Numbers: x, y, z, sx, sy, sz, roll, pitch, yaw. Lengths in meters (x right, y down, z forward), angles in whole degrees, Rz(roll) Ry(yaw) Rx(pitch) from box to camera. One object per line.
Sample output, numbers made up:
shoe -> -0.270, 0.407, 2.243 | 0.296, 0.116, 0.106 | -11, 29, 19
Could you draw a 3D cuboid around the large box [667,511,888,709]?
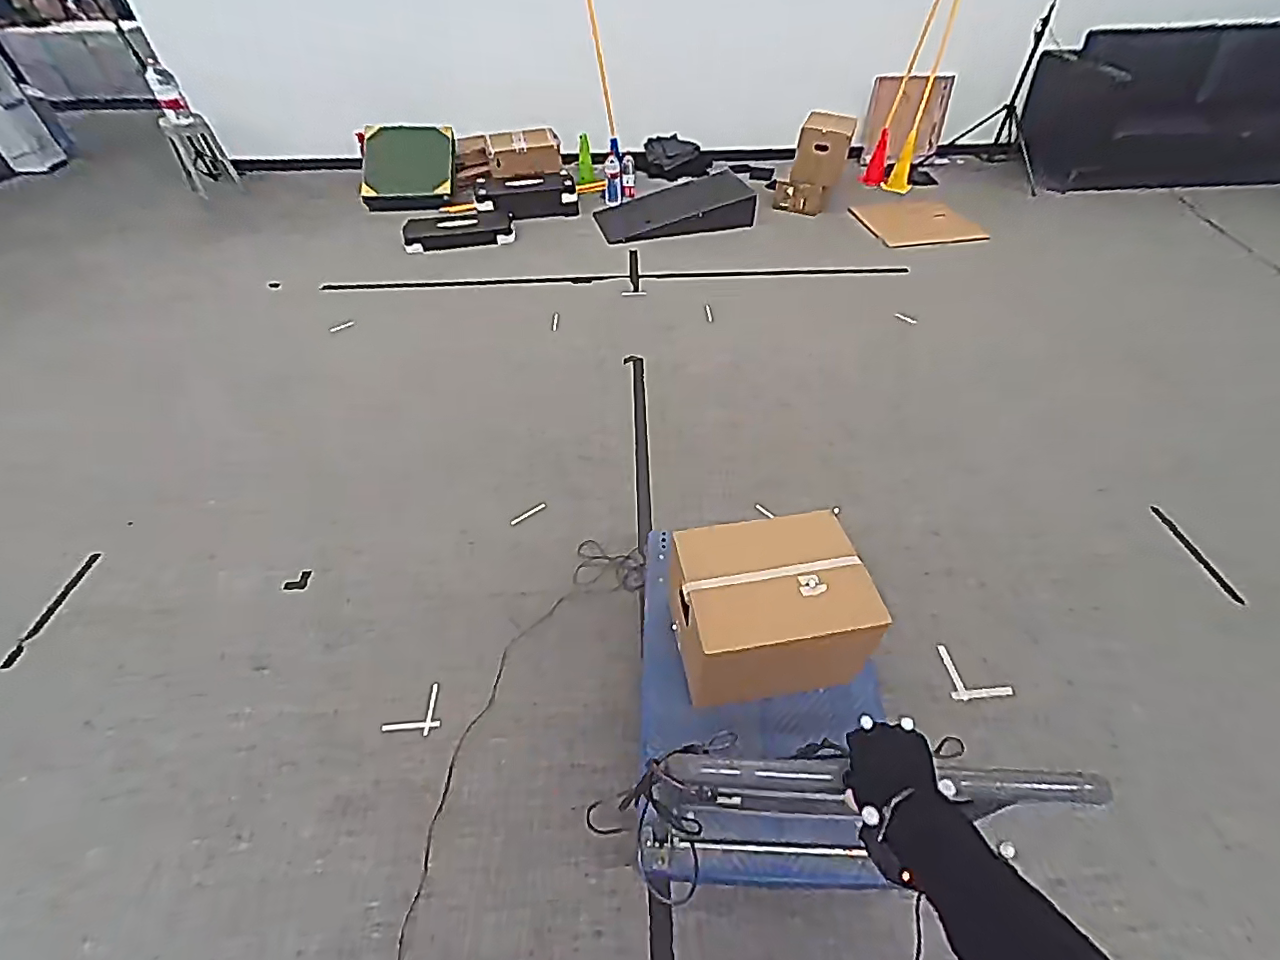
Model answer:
large box -> 0.296, 0.313, 1.305 | 0.408, 0.320, 0.320 | -7, 48, -7
